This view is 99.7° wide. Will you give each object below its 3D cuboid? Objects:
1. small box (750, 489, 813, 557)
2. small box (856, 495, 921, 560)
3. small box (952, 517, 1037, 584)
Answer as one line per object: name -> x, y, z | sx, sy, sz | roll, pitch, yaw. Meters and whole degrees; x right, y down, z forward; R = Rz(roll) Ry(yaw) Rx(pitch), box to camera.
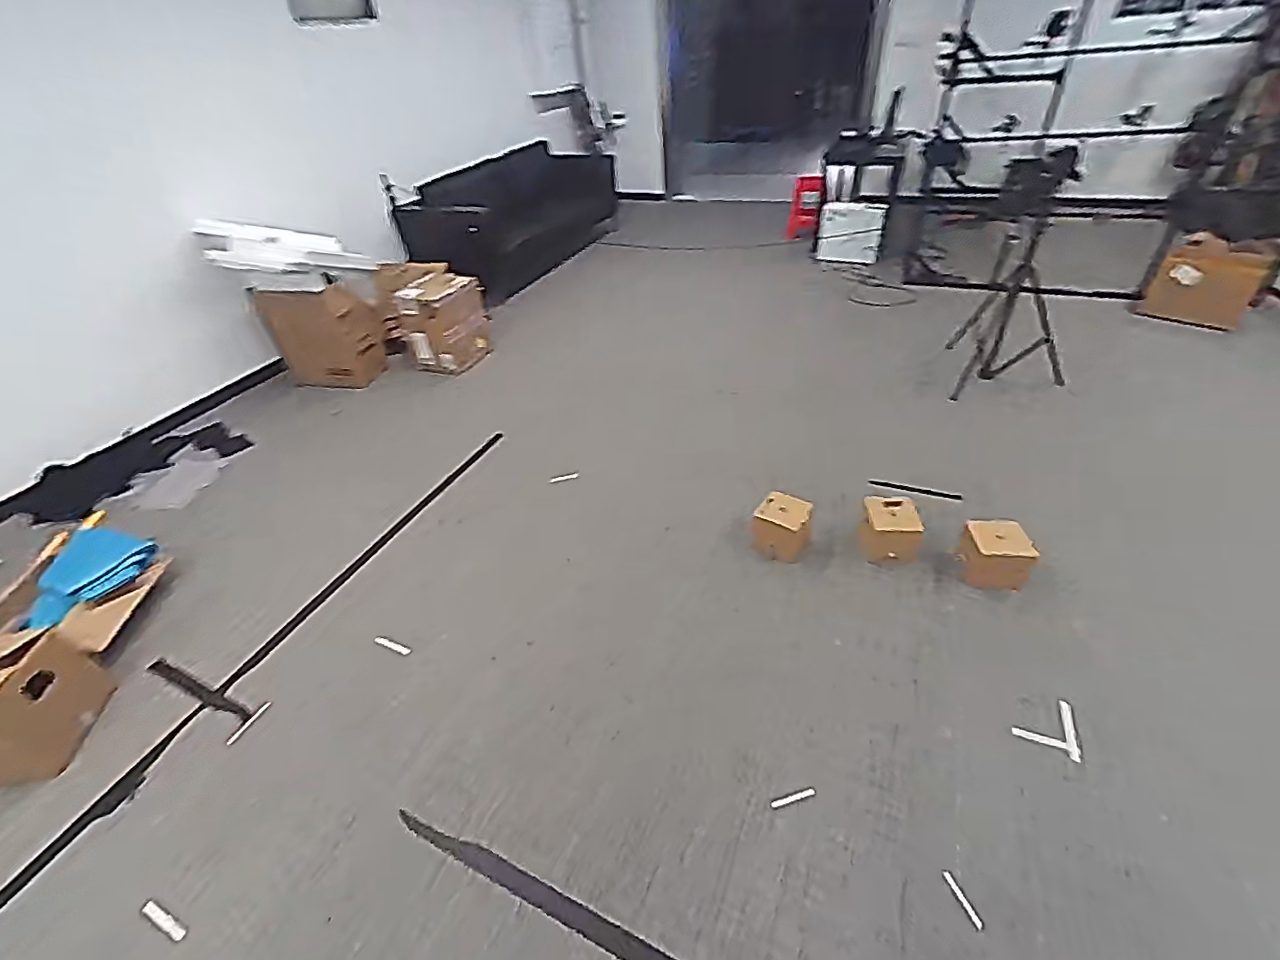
small box -> 0.536, 0.170, 2.063 | 0.179, 0.176, 0.168 | 22, 46, 30
small box -> 0.912, 0.174, 2.003 | 0.168, 0.176, 0.179 | -1, 40, 7
small box -> 1.220, 0.246, 1.876 | 0.179, 0.176, 0.168 | -1, 38, 8
